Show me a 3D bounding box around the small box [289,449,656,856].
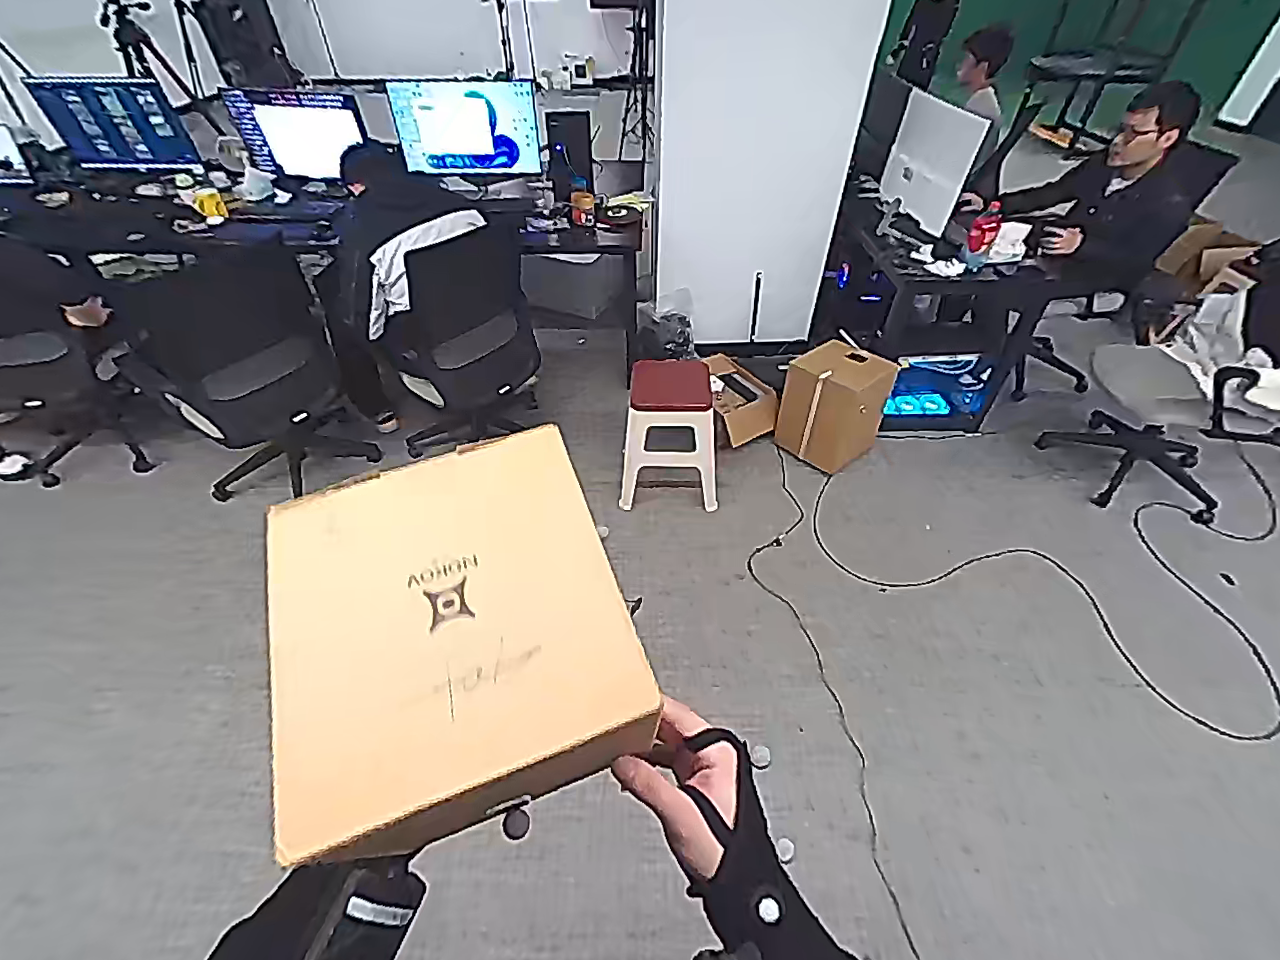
[{"bbox_3d":[-0.098,0.113,0.353,0.168,0.176,0.179,-17,60,-11],"label":"small box"}]
